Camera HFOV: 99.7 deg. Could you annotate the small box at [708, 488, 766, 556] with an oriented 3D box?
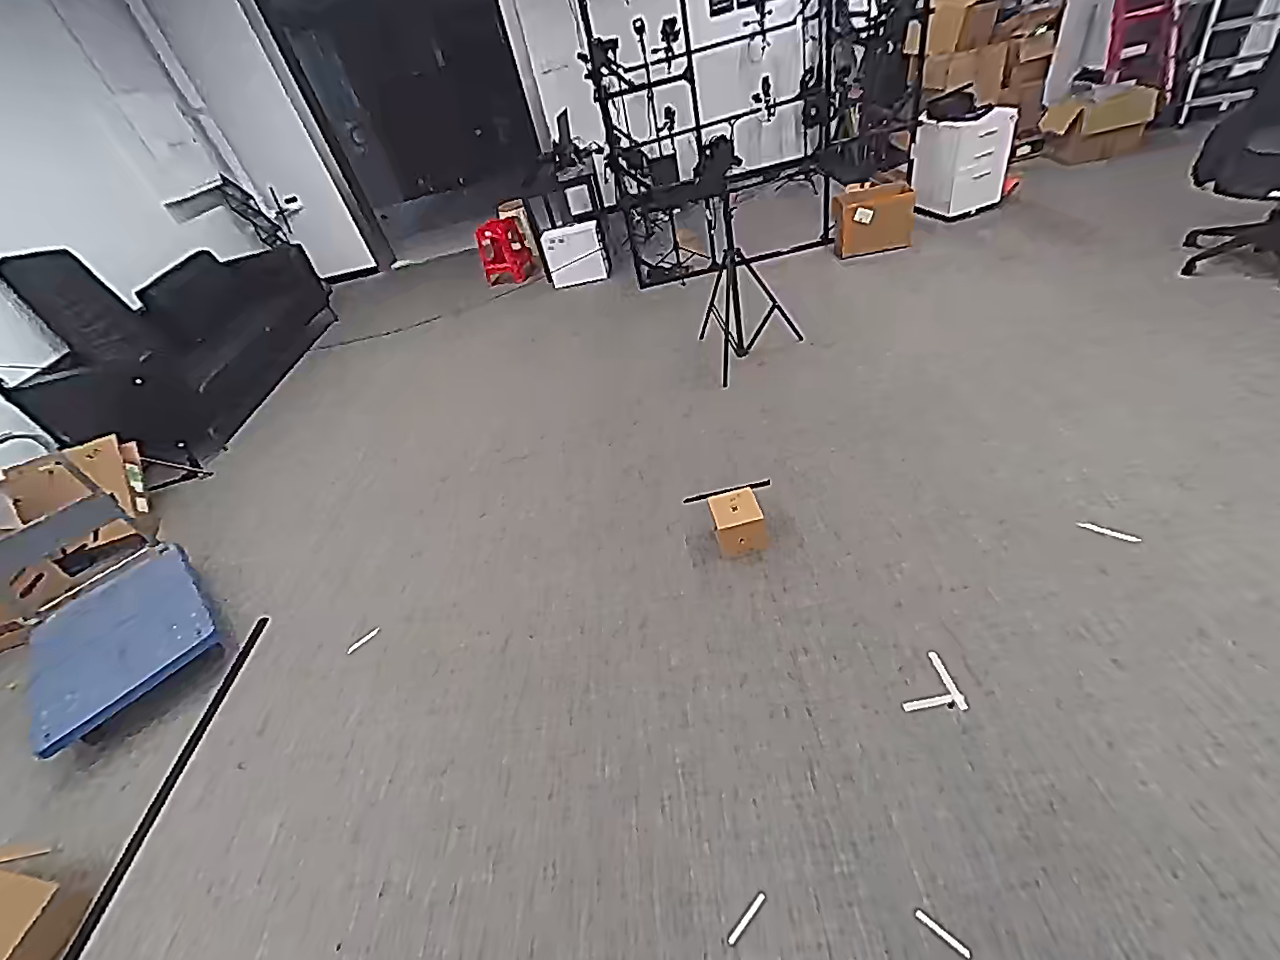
[{"bbox_3d":[0.357,0.161,1.981,0.168,0.176,0.179,-14,39,2],"label":"small box"}]
